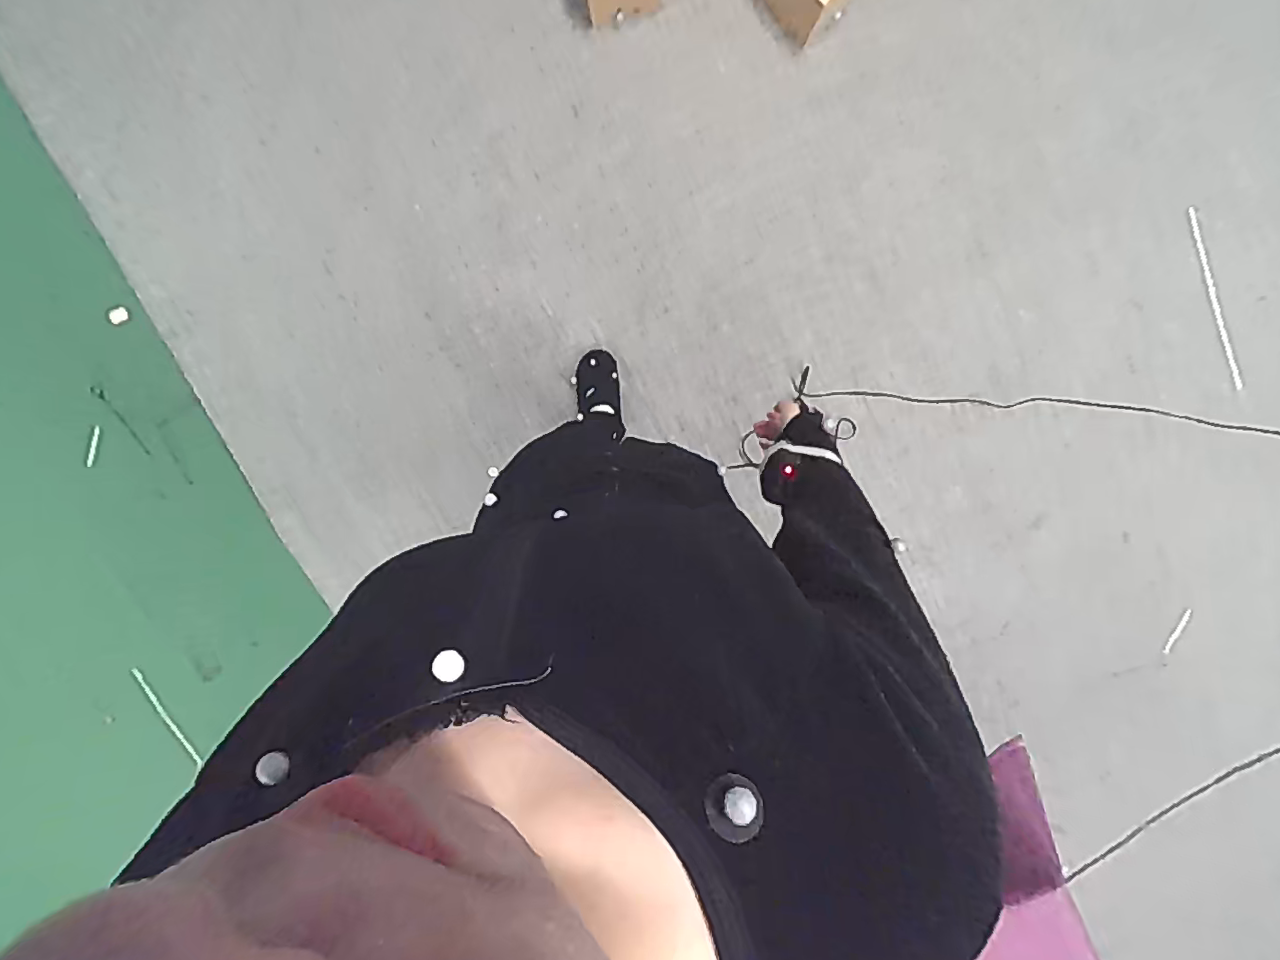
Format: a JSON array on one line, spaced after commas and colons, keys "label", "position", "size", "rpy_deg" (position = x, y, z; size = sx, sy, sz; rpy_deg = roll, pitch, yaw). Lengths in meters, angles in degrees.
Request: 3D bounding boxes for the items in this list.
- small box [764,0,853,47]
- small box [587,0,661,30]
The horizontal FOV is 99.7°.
[{"label": "small box", "position": [0.383, -1.112, 1.179], "size": [0.168, 0.176, 0.179], "rpy_deg": [-43, 98, 9]}, {"label": "small box", "position": [-0.049, -1.144, 1.180], "size": [0.168, 0.176, 0.179], "rpy_deg": [-11, 101, 4]}]
